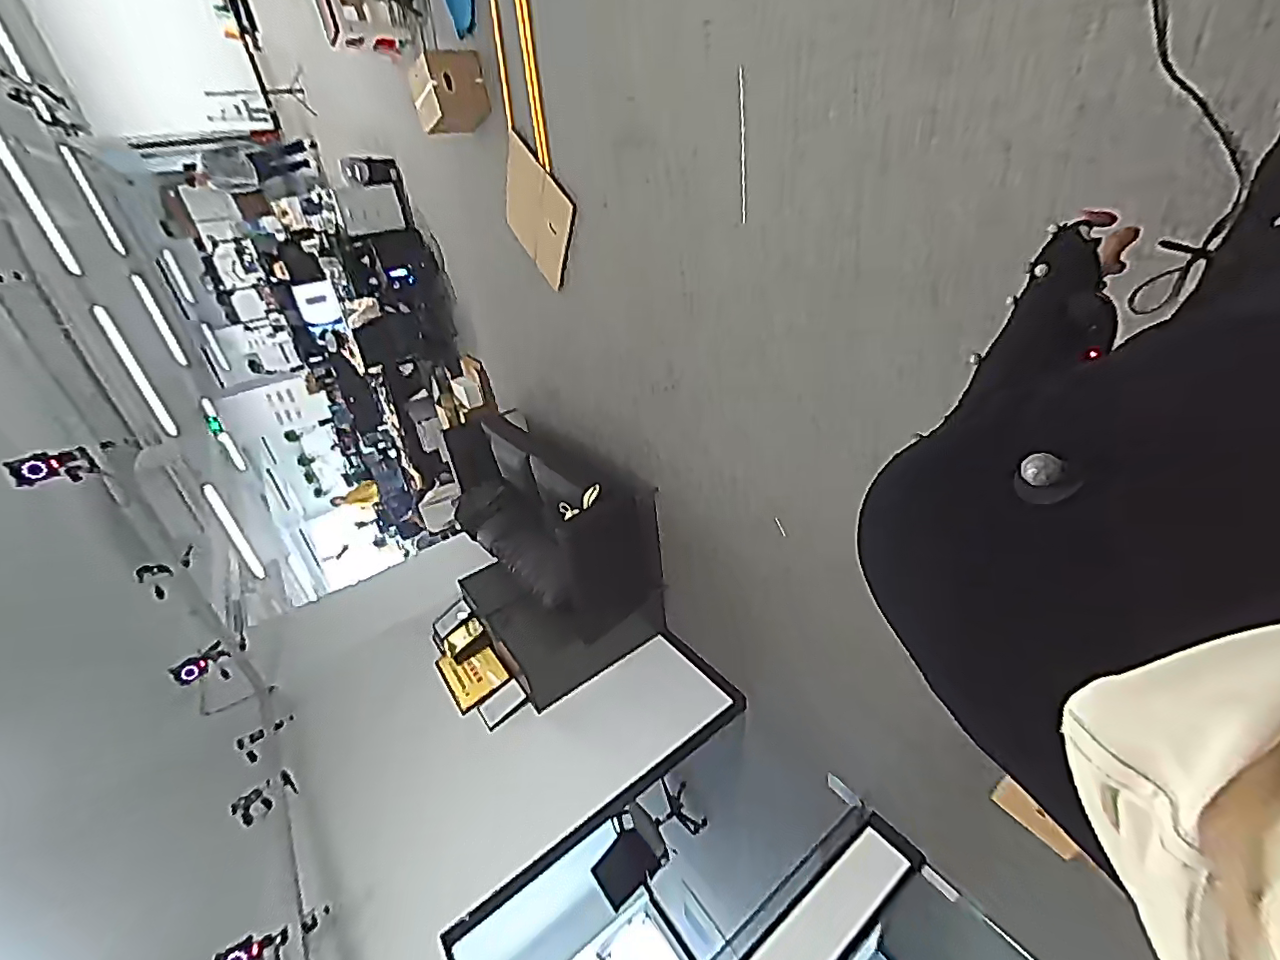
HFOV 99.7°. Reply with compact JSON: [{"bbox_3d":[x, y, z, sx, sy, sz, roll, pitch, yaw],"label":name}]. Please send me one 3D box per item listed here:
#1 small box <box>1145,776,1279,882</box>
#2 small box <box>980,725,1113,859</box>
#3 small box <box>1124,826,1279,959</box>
[{"bbox_3d":[1.222,0.768,1.123,0.179,0.176,0.168,36,141,43],"label":"small box"},{"bbox_3d":[0.921,0.698,1.226,0.168,0.176,0.179,38,143,42],"label":"small box"},{"bbox_3d":[1.094,0.821,1.037,0.168,0.176,0.179,35,140,44],"label":"small box"}]
